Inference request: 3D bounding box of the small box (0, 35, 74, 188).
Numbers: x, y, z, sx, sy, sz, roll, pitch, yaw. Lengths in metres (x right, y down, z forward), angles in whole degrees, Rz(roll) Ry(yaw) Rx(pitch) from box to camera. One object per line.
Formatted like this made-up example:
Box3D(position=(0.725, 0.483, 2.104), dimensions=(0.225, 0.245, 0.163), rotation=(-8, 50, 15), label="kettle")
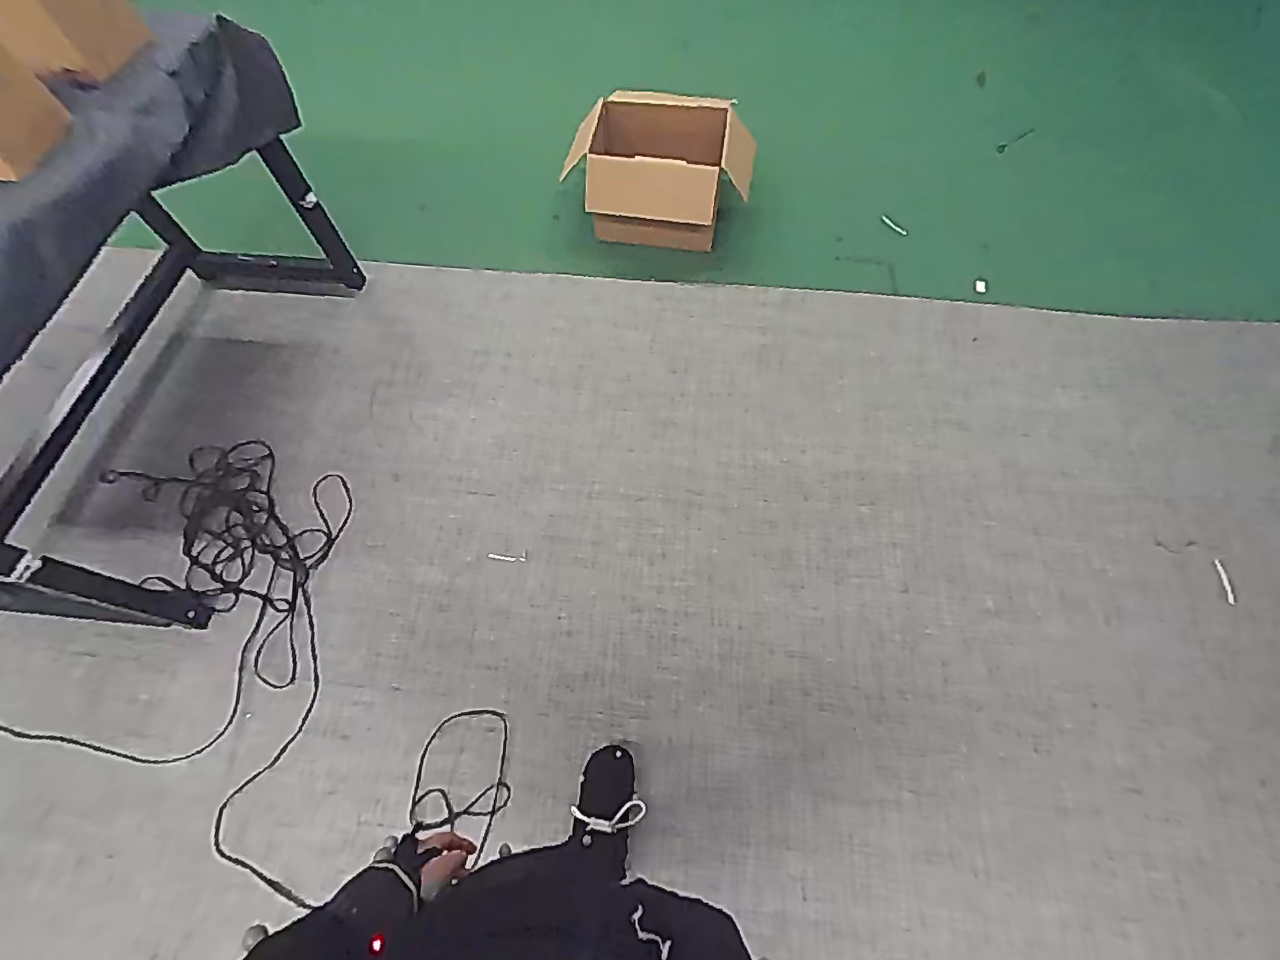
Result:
Box3D(position=(-1.130, -0.625, 0.905), dimensions=(0.168, 0.176, 0.179), rotation=(3, 63, 2), label="small box")
